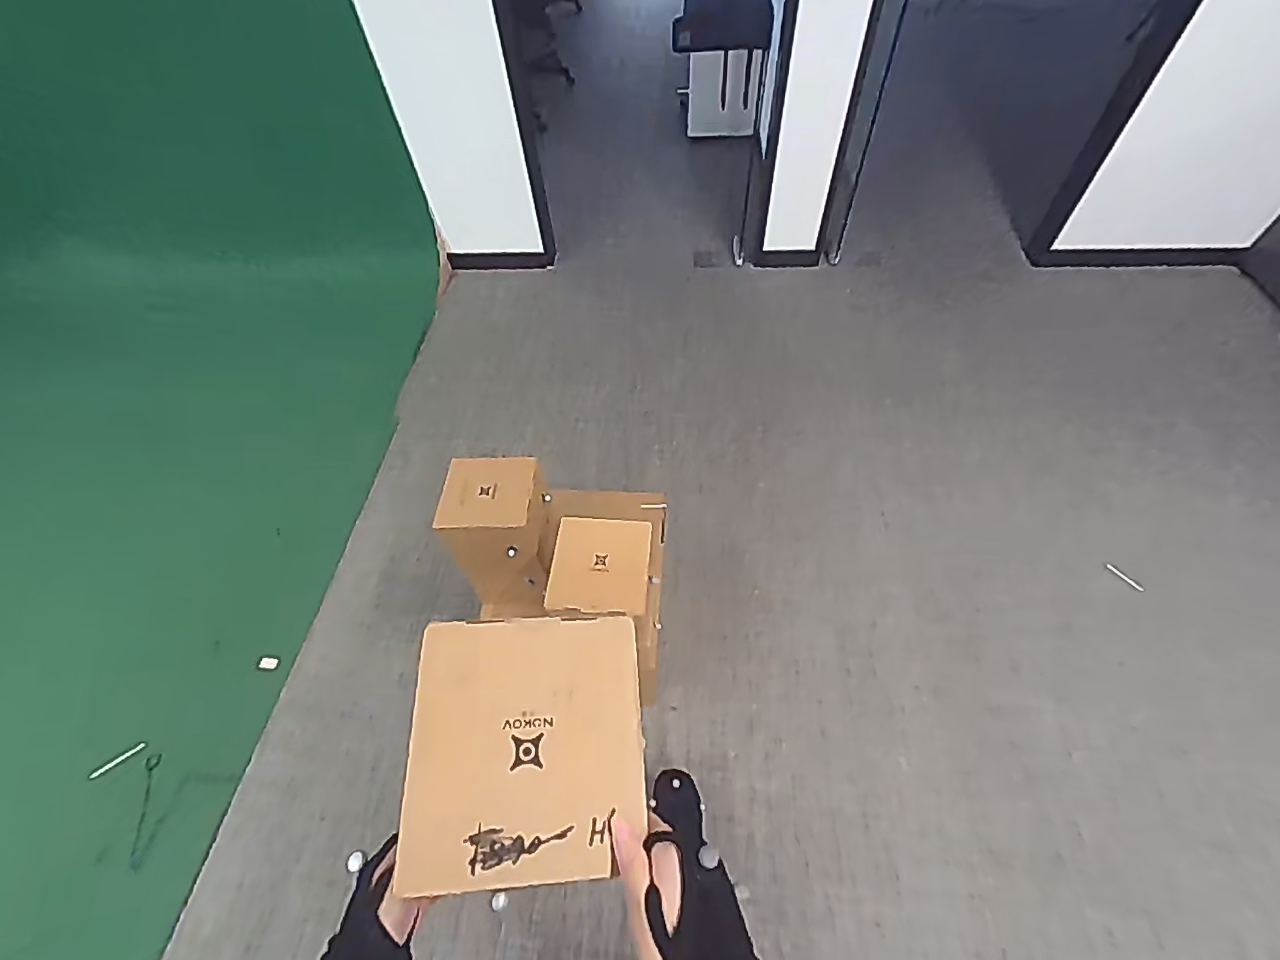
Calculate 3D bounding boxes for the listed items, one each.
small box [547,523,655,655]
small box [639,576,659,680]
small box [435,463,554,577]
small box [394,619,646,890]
[{"bbox_3d":[-0.061,0.199,0.979,0.168,0.176,0.179,3,54,5],"label":"small box"},{"bbox_3d":[-0.054,0.300,1.107,0.179,0.176,0.168,3,53,5],"label":"small box"},{"bbox_3d":[-0.278,0.083,1.082,0.179,0.176,0.168,-1,51,4],"label":"small box"},{"bbox_3d":[-0.089,0.229,0.463,0.168,0.176,0.179,1,60,-7],"label":"small box"}]
